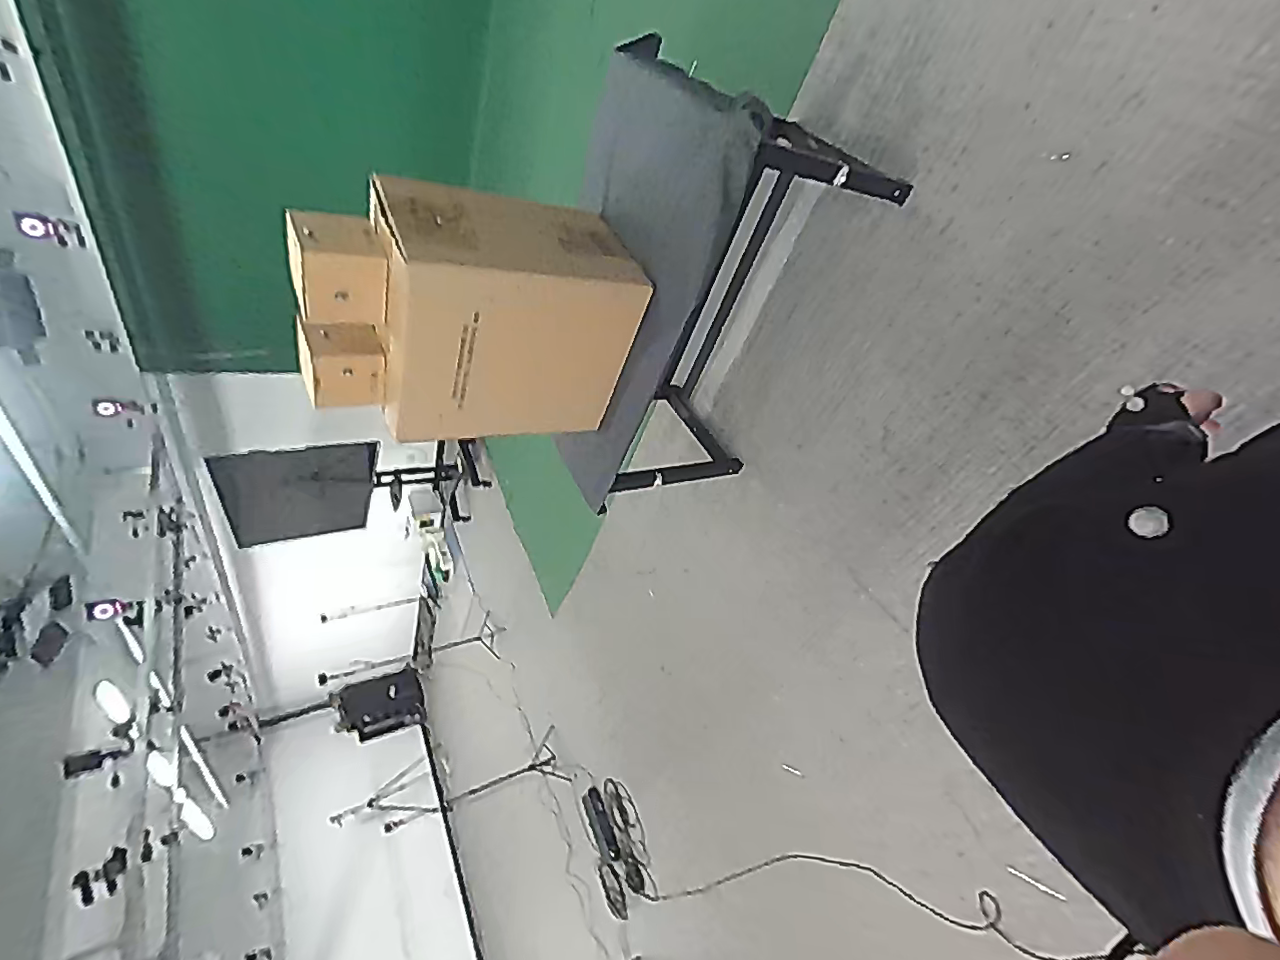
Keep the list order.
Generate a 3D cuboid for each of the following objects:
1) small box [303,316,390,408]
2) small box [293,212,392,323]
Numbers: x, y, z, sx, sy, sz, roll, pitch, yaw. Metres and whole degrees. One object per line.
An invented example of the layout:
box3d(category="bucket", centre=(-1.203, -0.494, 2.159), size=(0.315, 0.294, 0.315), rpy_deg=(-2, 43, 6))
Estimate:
box3d(category="small box", centre=(-0.759, -0.309, 1.406), size=(0.179, 0.176, 0.168), rpy_deg=(57, 138, 30))
box3d(category="small box", centre=(-0.674, -0.479, 1.234), size=(0.168, 0.176, 0.179), rpy_deg=(57, 140, 28))
